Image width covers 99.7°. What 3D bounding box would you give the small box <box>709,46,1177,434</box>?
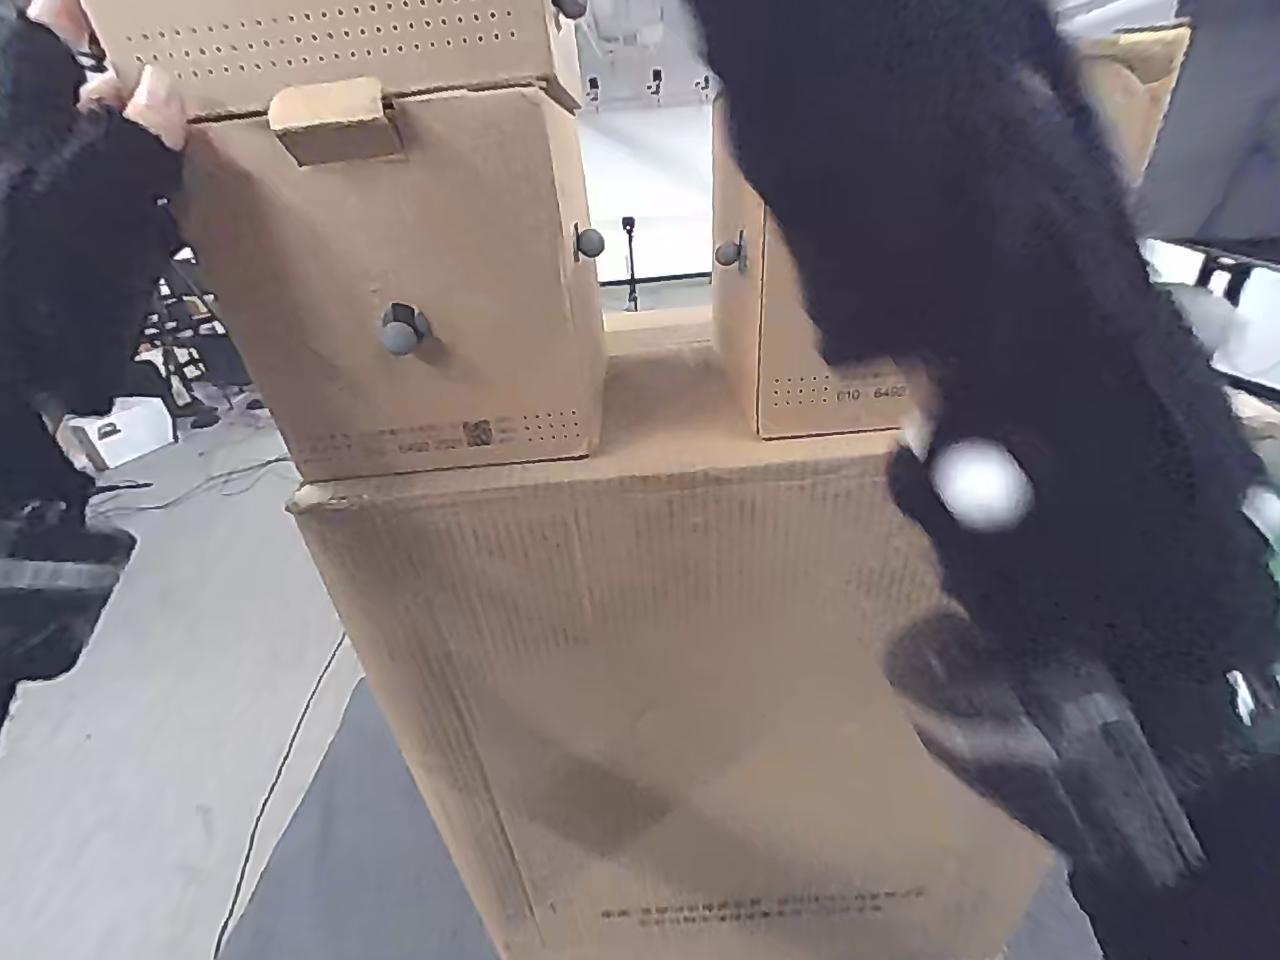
[{"bbox_3d":[0.133,-0.133,0.323,0.168,0.176,0.179,-2,29,0],"label":"small box"}]

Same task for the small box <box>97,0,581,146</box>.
[{"bbox_3d":[-0.127,-0.262,0.251,0.179,0.176,0.168,-5,30,2],"label":"small box"}]
